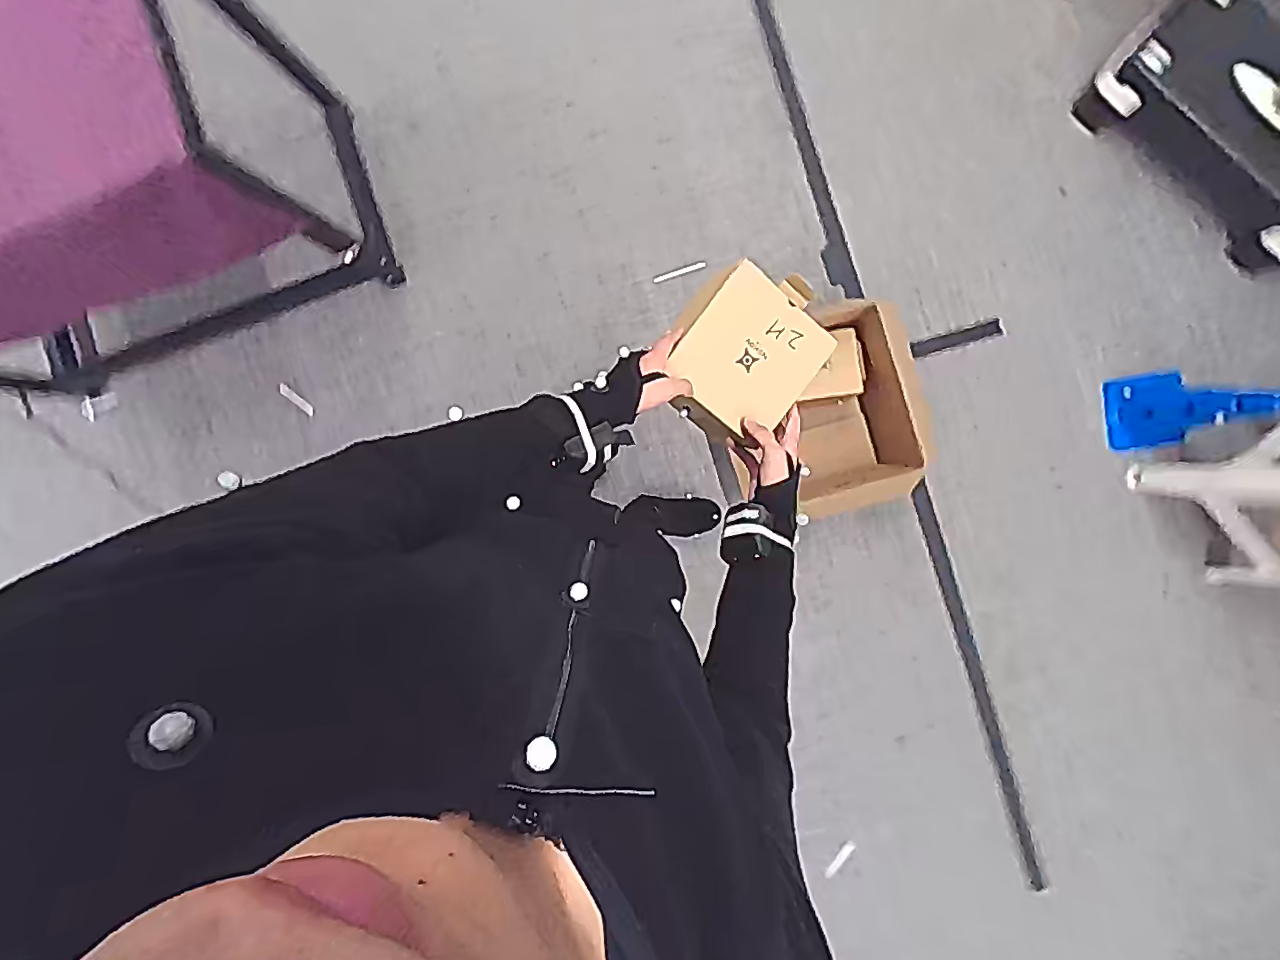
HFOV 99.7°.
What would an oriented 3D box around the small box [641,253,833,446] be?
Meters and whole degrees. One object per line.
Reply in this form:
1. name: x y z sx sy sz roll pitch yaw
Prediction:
1. small box: 0.117 -0.167 0.741 0.168 0.176 0.179 36 90 -14
